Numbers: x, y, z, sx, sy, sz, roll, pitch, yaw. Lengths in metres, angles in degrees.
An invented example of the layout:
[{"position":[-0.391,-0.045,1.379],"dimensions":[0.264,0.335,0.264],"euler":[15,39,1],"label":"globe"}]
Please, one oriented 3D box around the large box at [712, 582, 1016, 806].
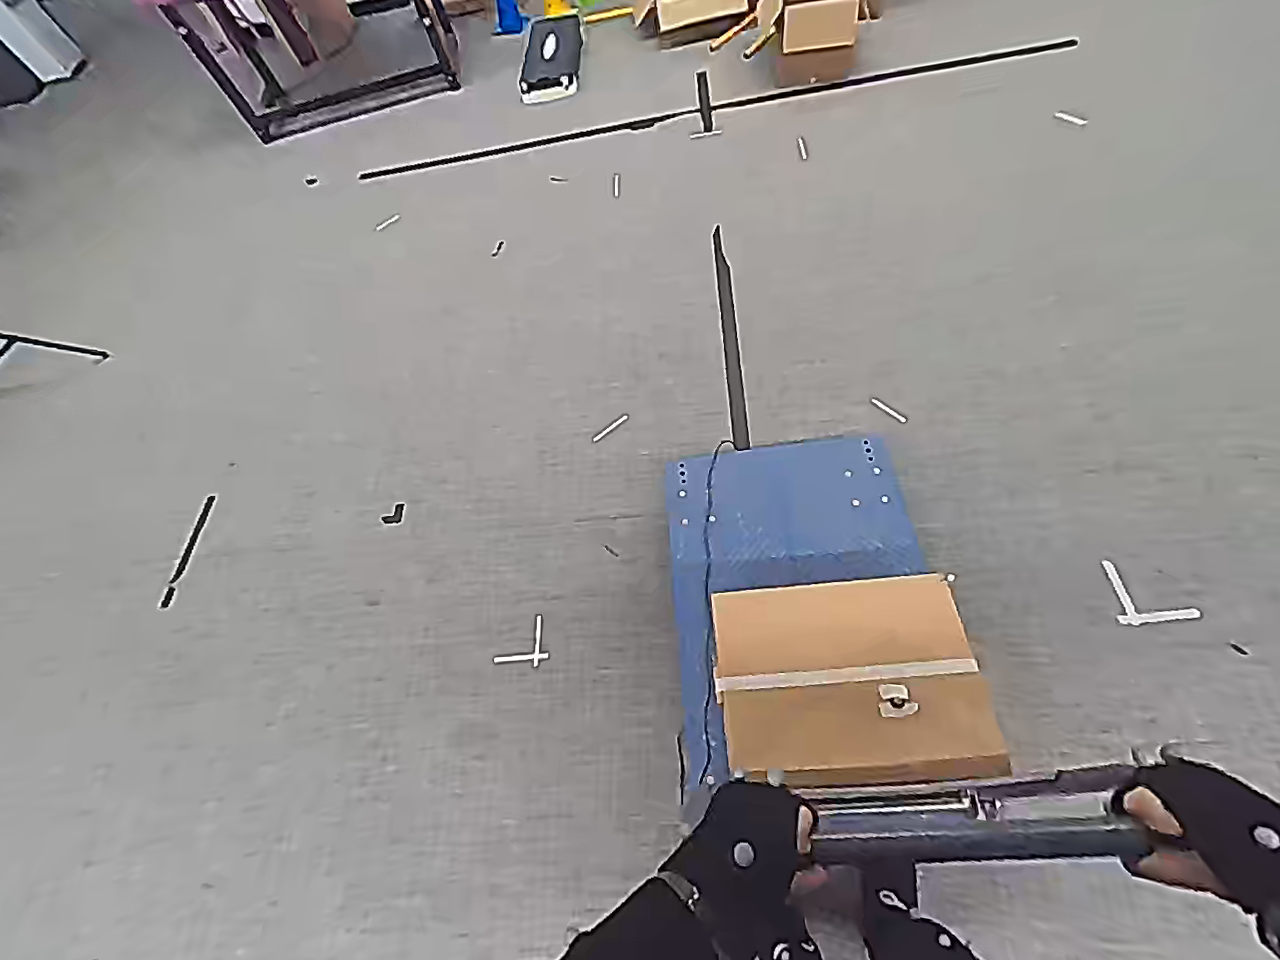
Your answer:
[{"position":[0.351,0.401,0.984],"dimensions":[0.408,0.320,0.320],"euler":[-6,60,6],"label":"large box"}]
